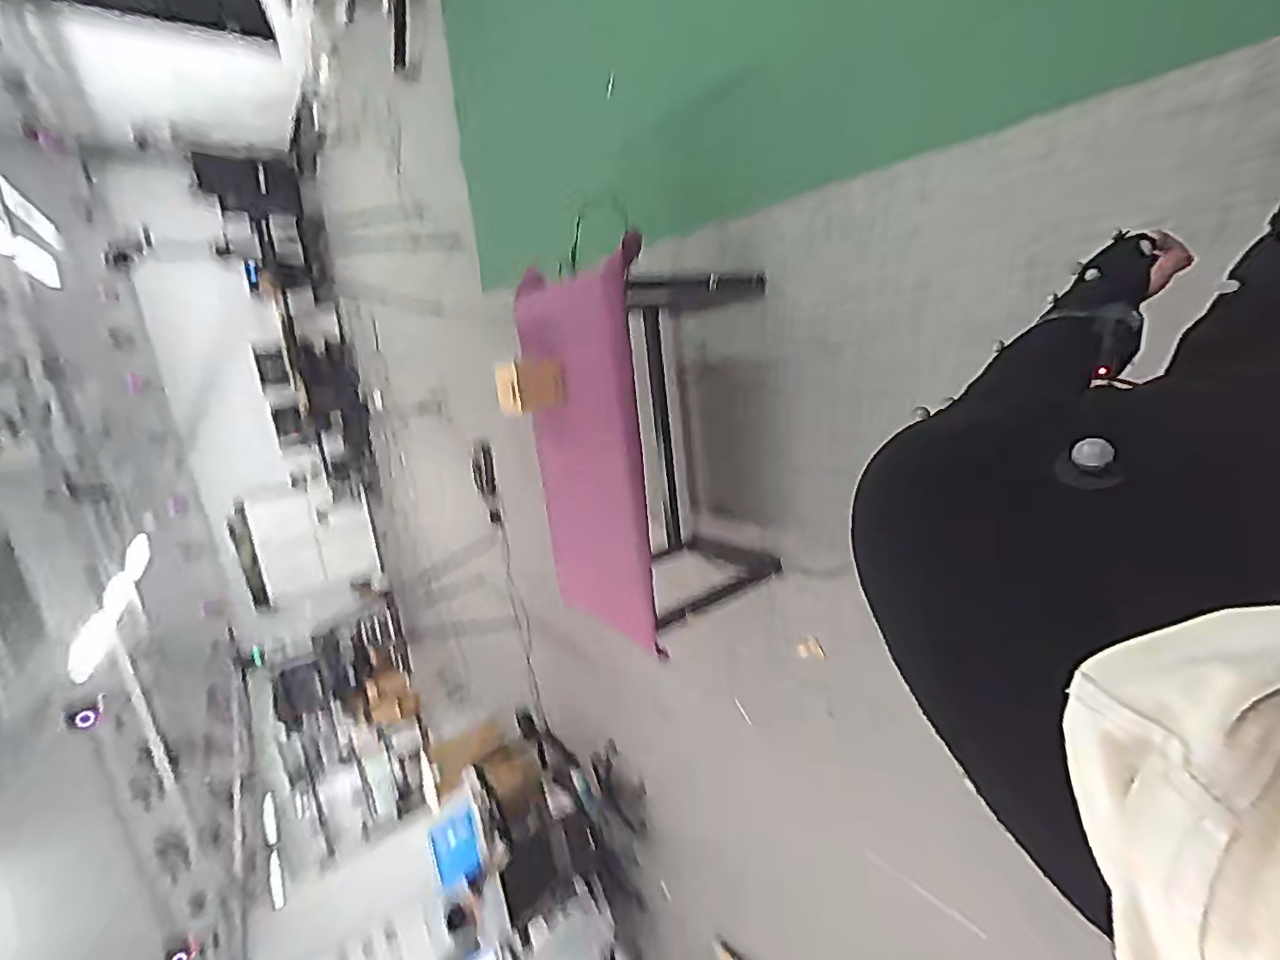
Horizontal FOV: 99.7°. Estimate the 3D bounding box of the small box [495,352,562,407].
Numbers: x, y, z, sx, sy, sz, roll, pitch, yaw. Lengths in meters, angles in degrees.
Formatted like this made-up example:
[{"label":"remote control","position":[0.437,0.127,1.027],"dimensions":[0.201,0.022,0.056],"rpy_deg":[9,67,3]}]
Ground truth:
[{"label":"small box","position":[-0.380,-0.352,1.880],"dimensions":[0.179,0.176,0.168],"rpy_deg":[14,114,53]}]
